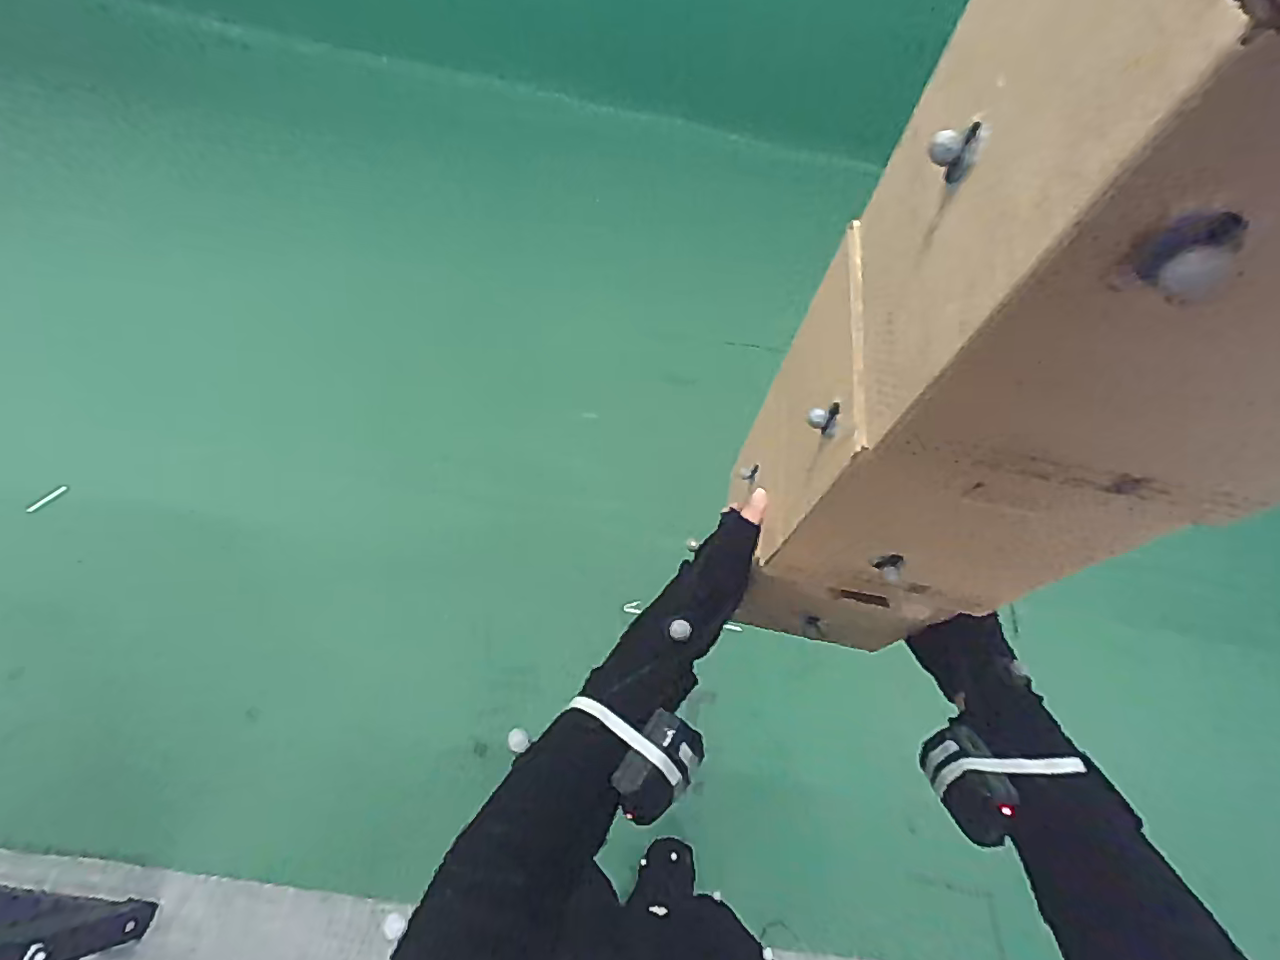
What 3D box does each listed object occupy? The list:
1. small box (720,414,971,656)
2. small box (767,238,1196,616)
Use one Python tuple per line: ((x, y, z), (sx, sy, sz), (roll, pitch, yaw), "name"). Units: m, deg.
((0.179, 0.049, 0.514), (0.168, 0.176, 0.179), (12, 61, 2), "small box")
((0.191, -0.025, 0.369), (0.168, 0.176, 0.179), (10, 61, 0), "small box")
